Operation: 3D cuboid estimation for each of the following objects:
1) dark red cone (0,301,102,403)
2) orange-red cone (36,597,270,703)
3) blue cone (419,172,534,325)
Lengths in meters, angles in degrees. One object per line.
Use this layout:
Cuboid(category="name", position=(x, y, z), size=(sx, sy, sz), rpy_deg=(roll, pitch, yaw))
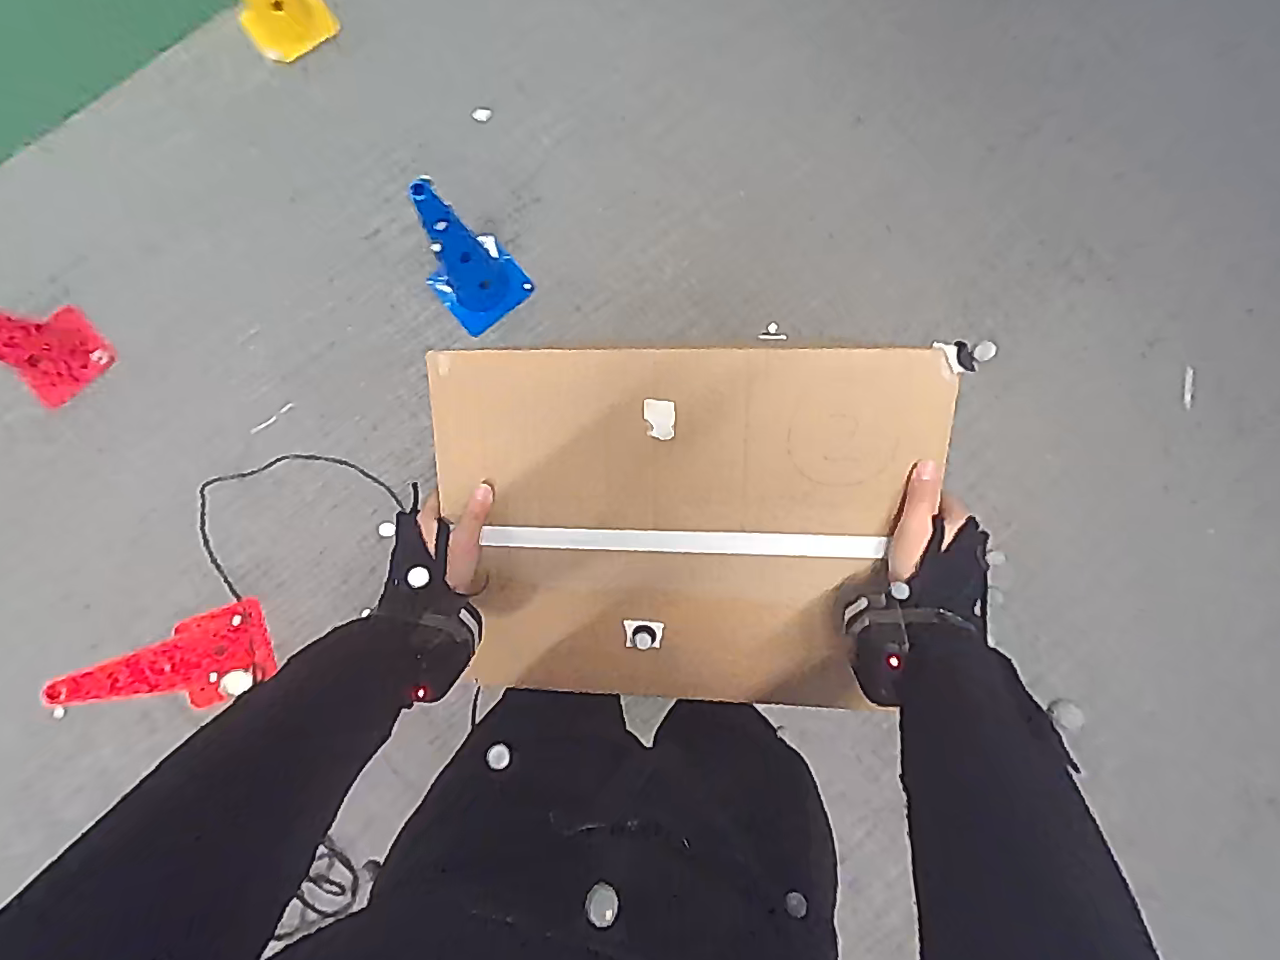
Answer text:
Cuboid(category="dark red cone", position=(-1.408, -0.332, 1.125), size=(0.201, 0.394, 0.202), rpy_deg=(43, 85, 10))
Cuboid(category="orange-red cone", position=(-0.935, 0.351, 1.032), size=(0.199, 0.360, 0.198), rpy_deg=(-19, 80, 0))
Cuboid(category="blue cone", position=(-0.385, -0.509, 1.157), size=(0.192, 0.380, 0.193), rpy_deg=(-38, 83, -4))
